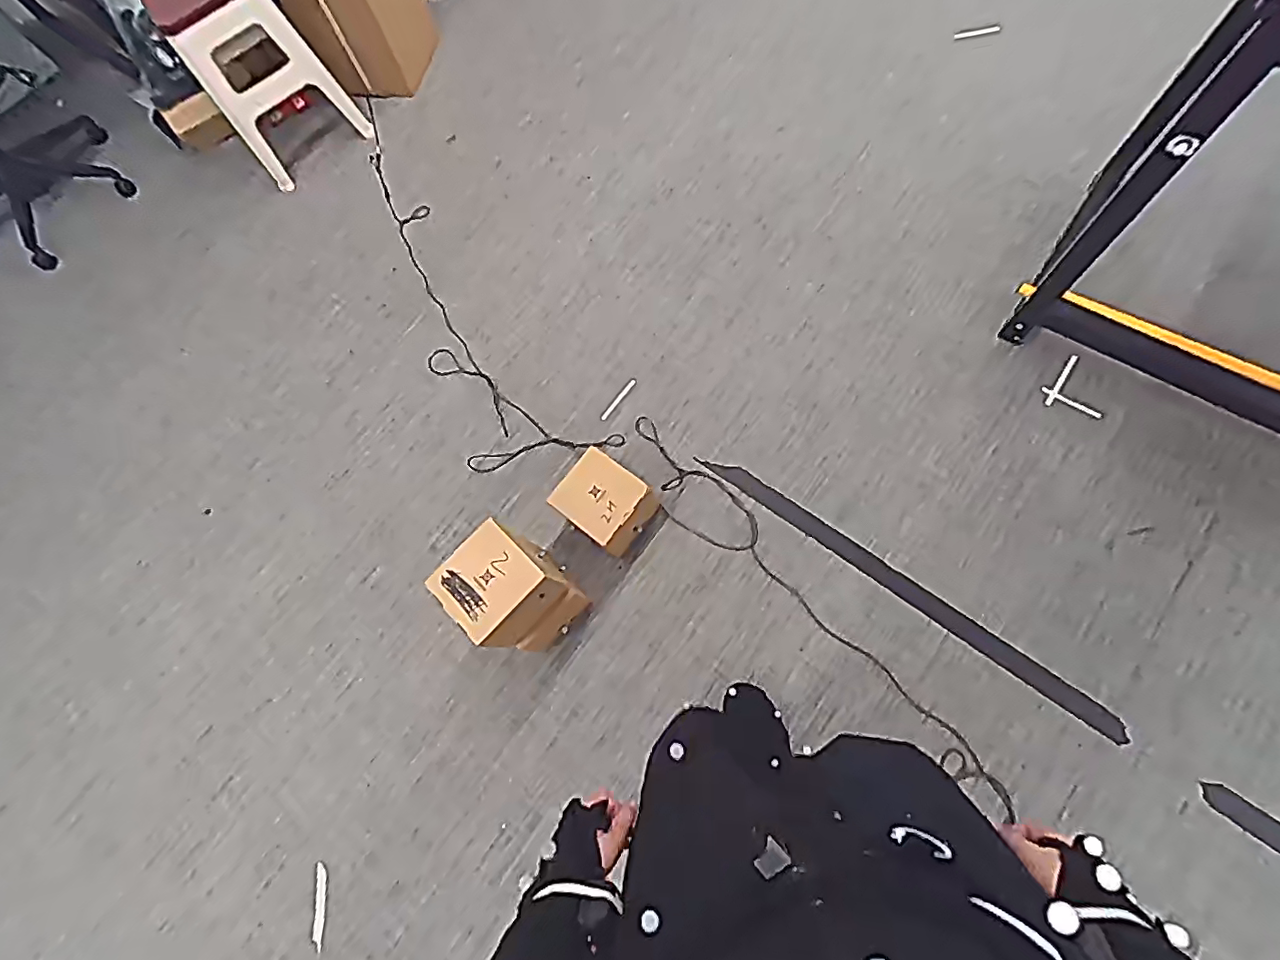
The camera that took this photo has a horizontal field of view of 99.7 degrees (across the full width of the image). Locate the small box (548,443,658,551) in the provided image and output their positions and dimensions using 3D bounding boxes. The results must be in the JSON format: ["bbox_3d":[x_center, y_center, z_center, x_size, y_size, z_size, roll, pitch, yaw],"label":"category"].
[{"bbox_3d":[-0.079,0.048,1.263,0.179,0.176,0.168,37,82,17],"label":"small box"}]

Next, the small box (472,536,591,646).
[{"bbox_3d":[-0.238,0.256,1.219,0.179,0.176,0.168,42,83,17],"label":"small box"}]
